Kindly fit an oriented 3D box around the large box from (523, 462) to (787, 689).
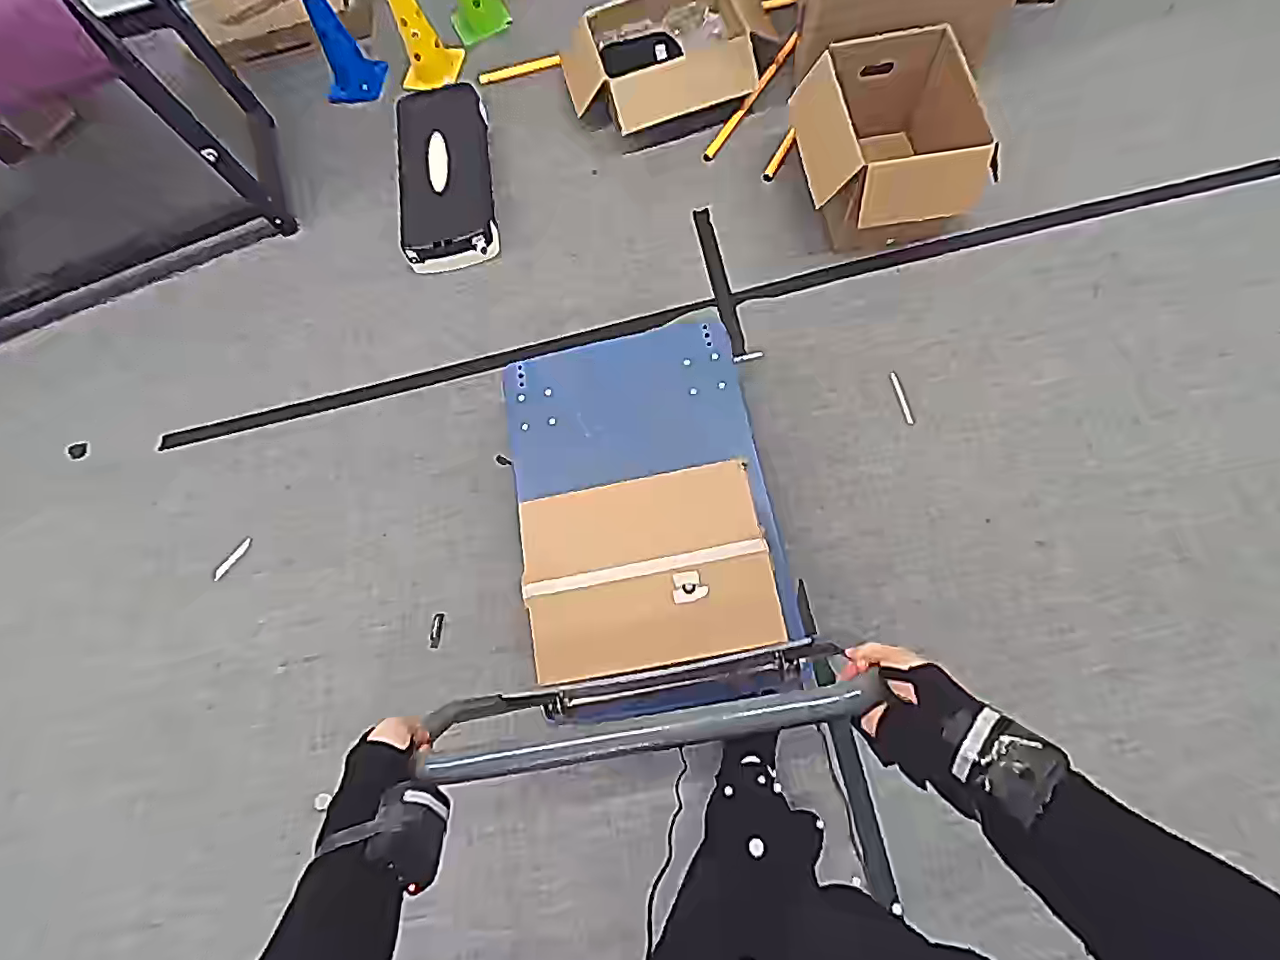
[{"bbox_3d":[0.027,0.197,1.048,0.408,0.320,0.320,-12,73,2],"label":"large box"}]
